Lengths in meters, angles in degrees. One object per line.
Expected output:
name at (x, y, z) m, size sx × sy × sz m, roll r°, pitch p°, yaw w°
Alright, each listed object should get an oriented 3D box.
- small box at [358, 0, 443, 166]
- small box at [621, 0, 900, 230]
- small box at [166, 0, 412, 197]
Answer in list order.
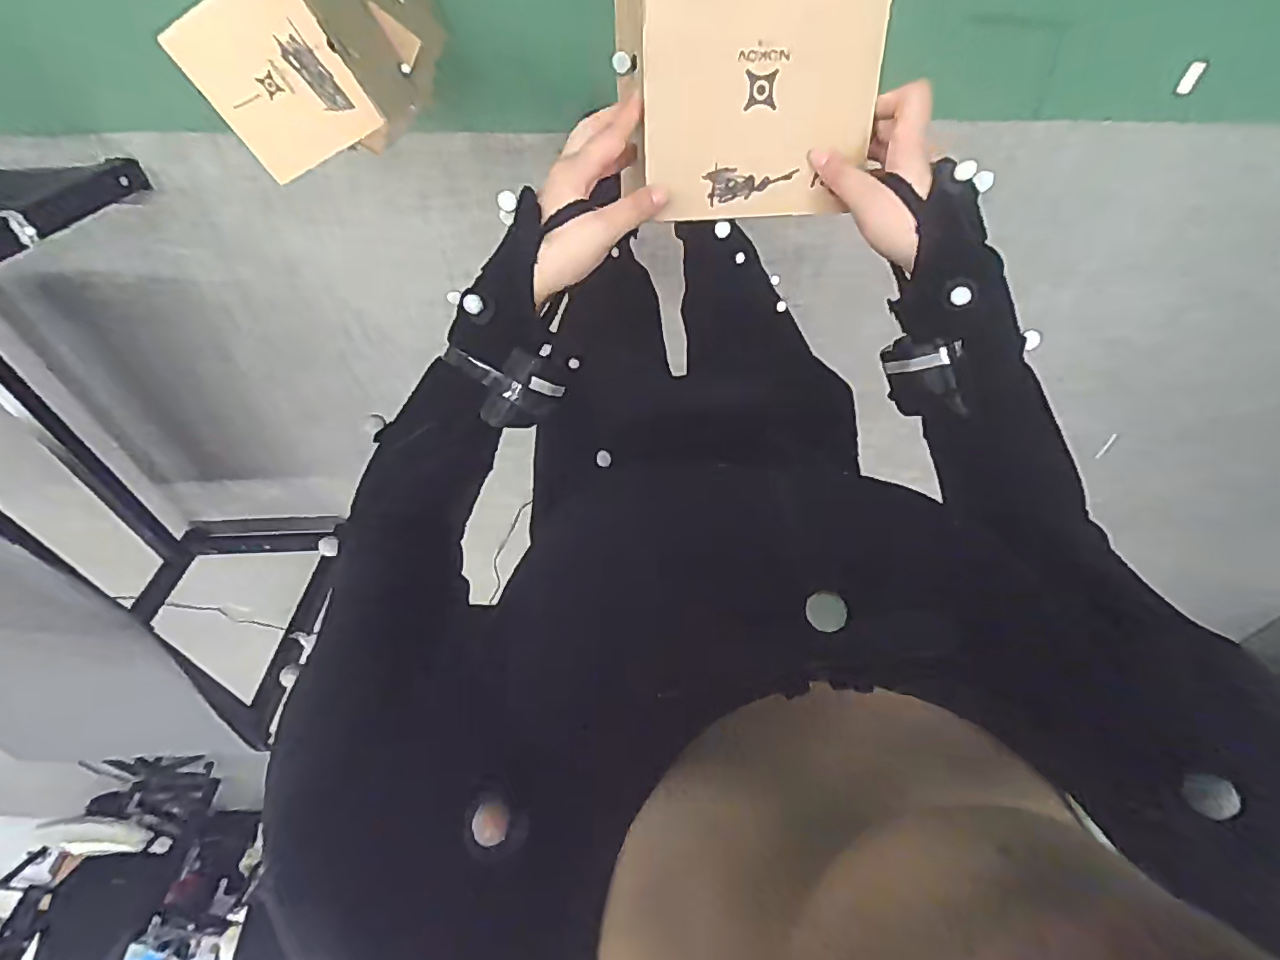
small box at (-0.409, -0.612, 0.793) m, size 0.168 × 0.176 × 0.179 m, roll 26°, pitch 127°, yaw -27°
small box at (0.077, -0.303, 0.434) m, size 0.168 × 0.176 × 0.179 m, roll -5°, pitch 119°, yaw -6°
small box at (-0.412, -0.497, 0.675) m, size 0.179 × 0.176 × 0.168 m, roll -18°, pitch 134°, yaw 16°
